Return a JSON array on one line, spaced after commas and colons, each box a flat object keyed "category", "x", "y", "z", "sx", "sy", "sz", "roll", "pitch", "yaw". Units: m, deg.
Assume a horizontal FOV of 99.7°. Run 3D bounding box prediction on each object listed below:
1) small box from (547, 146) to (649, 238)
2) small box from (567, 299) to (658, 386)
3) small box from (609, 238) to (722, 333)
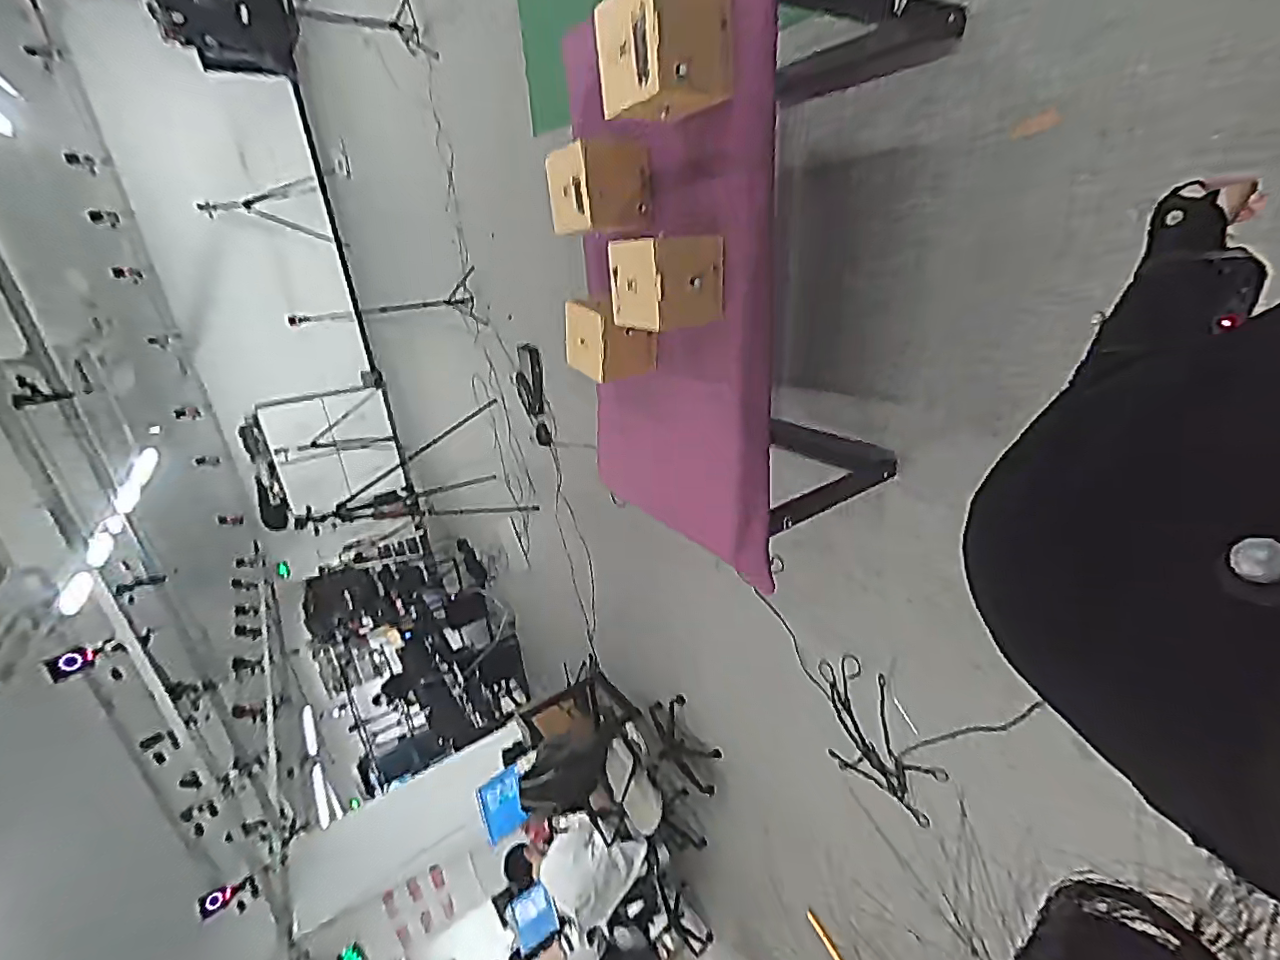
[{"category": "small box", "x": -0.089, "y": -0.652, "z": 1.230, "sx": 0.179, "sy": 0.176, "sz": 0.168, "roll": 25, "pitch": 127, "yaw": 52}, {"category": "small box", "x": -0.067, "y": -0.356, "z": 1.364, "sx": 0.179, "sy": 0.176, "sz": 0.168, "roll": 37, "pitch": 135, "yaw": 43}, {"category": "small box", "x": 0.058, "y": -0.409, "z": 1.127, "sx": 0.179, "sy": 0.176, "sz": 0.168, "roll": 28, "pitch": 129, "yaw": 50}]
